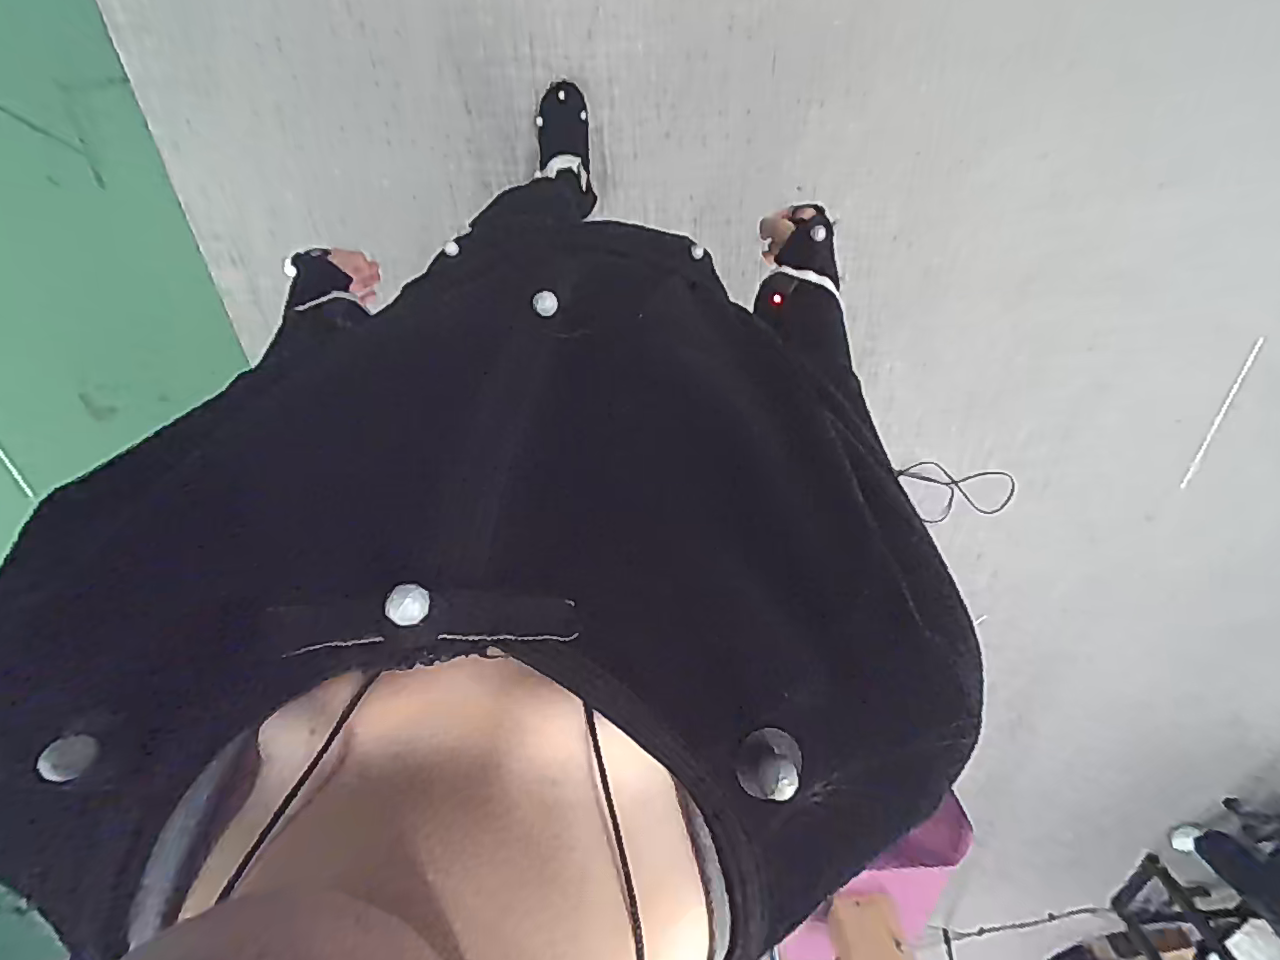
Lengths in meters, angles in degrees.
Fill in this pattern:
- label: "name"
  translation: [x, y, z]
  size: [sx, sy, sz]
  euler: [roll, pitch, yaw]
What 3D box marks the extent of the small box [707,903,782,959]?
- label: "small box"
  translation: [0.285, 1.290, 1.481]
  size: [0.179, 0.176, 0.168]
  euler: [-2, 121, -1]
